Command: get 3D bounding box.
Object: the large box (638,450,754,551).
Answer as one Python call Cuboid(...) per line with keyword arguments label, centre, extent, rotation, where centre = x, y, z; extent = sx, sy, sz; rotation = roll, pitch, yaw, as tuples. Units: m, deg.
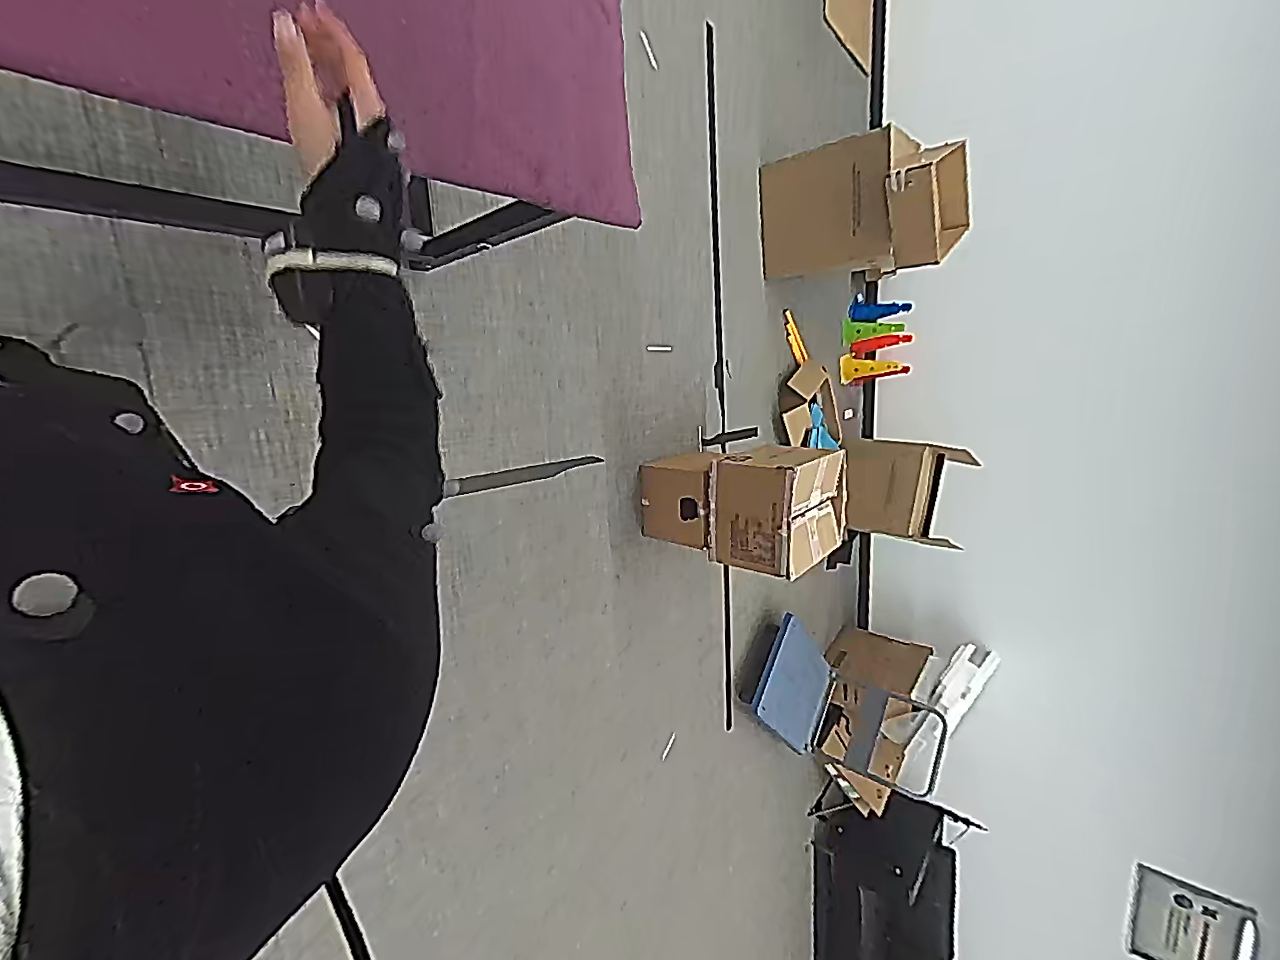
Cuboid(label="large box", centre=(0.240, 0.066, 2.252), extent=(0.408, 0.320, 0.320), rotation=(-16, 107, -46))
